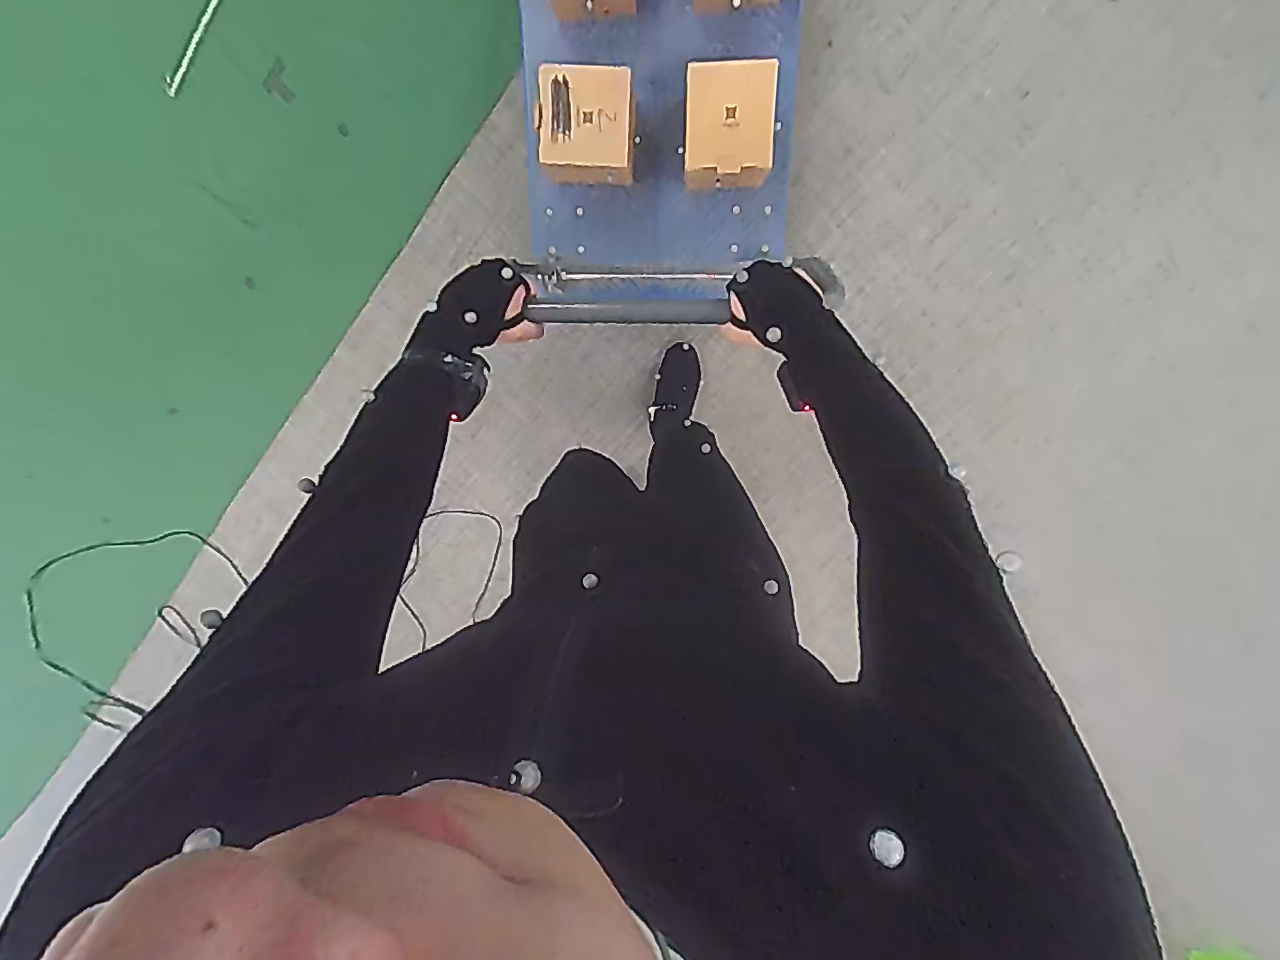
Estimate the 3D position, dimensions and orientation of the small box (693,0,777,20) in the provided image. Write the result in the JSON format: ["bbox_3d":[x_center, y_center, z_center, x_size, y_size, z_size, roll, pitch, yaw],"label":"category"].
[{"bbox_3d":[0.179,-0.991,0.986,0.168,0.176,0.179,-3,109,5],"label":"small box"}]

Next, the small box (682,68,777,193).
[{"bbox_3d":[0.171,-0.692,1.086,0.168,0.176,0.179,1,109,3],"label":"small box"}]

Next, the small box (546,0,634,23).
[{"bbox_3d":[-0.100,-0.988,1.004,0.168,0.176,0.179,-3,108,3],"label":"small box"}]
